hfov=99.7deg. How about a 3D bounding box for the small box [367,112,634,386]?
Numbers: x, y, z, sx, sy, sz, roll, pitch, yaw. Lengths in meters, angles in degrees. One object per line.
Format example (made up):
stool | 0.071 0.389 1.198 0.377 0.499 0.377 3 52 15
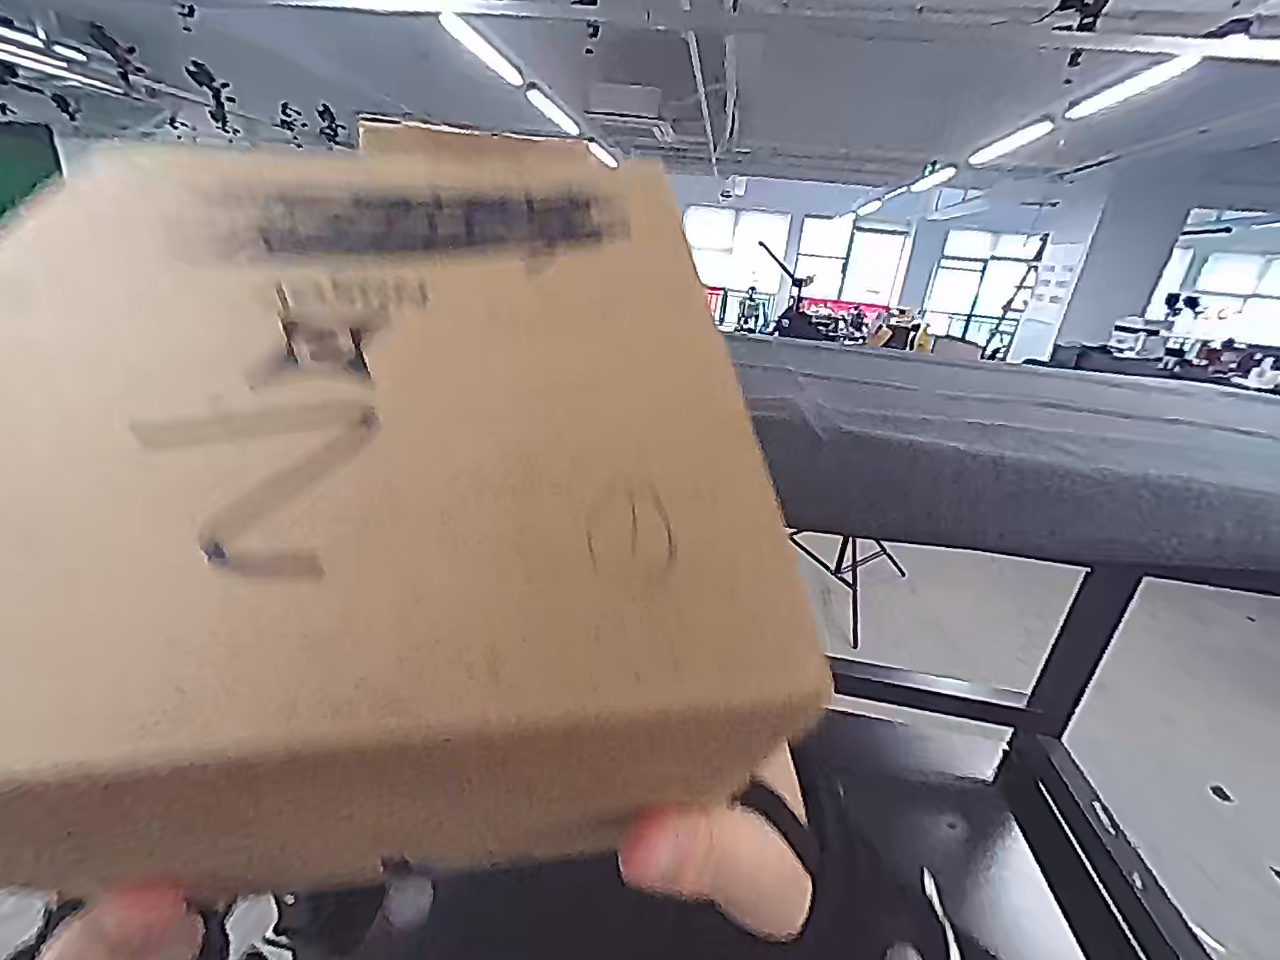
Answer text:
small box | -0.108 -0.187 0.466 0.168 0.176 0.179 9 21 5
